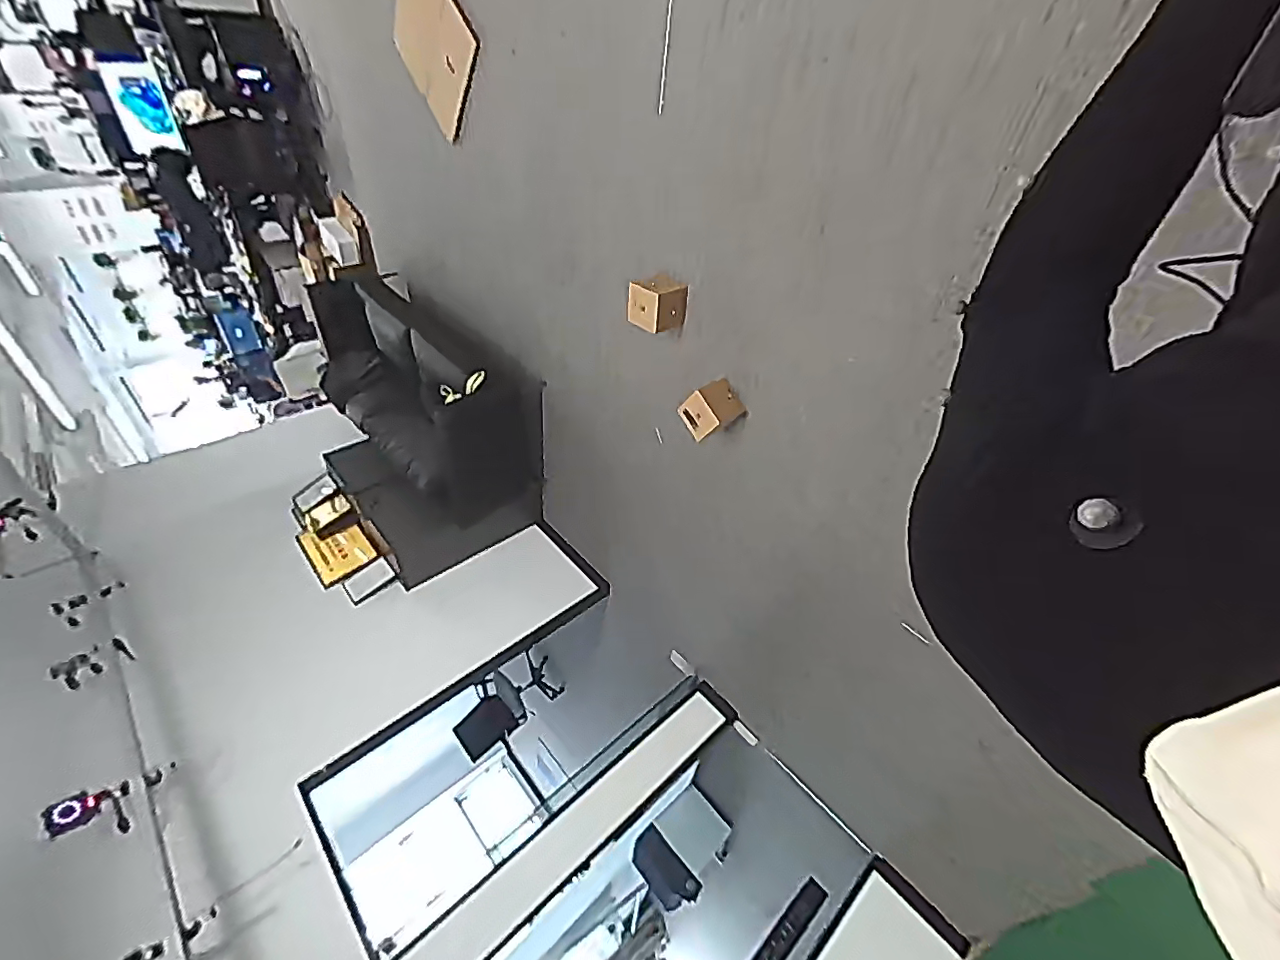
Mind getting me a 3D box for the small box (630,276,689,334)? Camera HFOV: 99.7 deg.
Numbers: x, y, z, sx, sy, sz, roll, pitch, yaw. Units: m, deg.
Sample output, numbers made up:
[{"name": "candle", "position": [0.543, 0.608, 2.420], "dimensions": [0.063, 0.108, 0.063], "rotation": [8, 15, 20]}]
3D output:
[{"name": "small box", "position": [0.079, -0.726, 2.221], "dimensions": [0.179, 0.176, 0.168], "rotation": [36, 138, 34]}]
